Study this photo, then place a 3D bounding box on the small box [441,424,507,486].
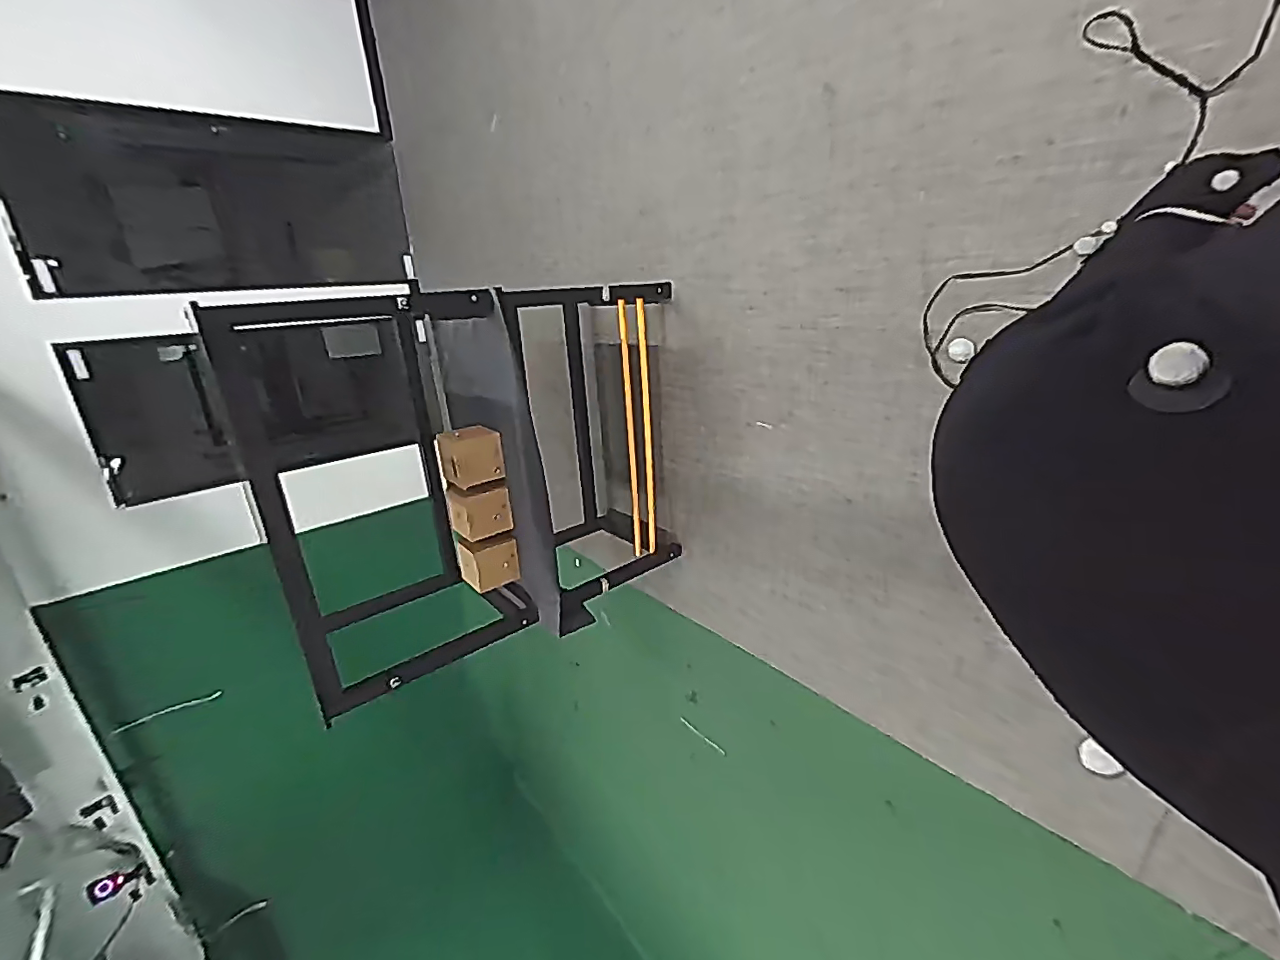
[{"bbox_3d":[-0.584,-0.095,1.926,0.179,0.176,0.168,20,121,48],"label":"small box"}]
